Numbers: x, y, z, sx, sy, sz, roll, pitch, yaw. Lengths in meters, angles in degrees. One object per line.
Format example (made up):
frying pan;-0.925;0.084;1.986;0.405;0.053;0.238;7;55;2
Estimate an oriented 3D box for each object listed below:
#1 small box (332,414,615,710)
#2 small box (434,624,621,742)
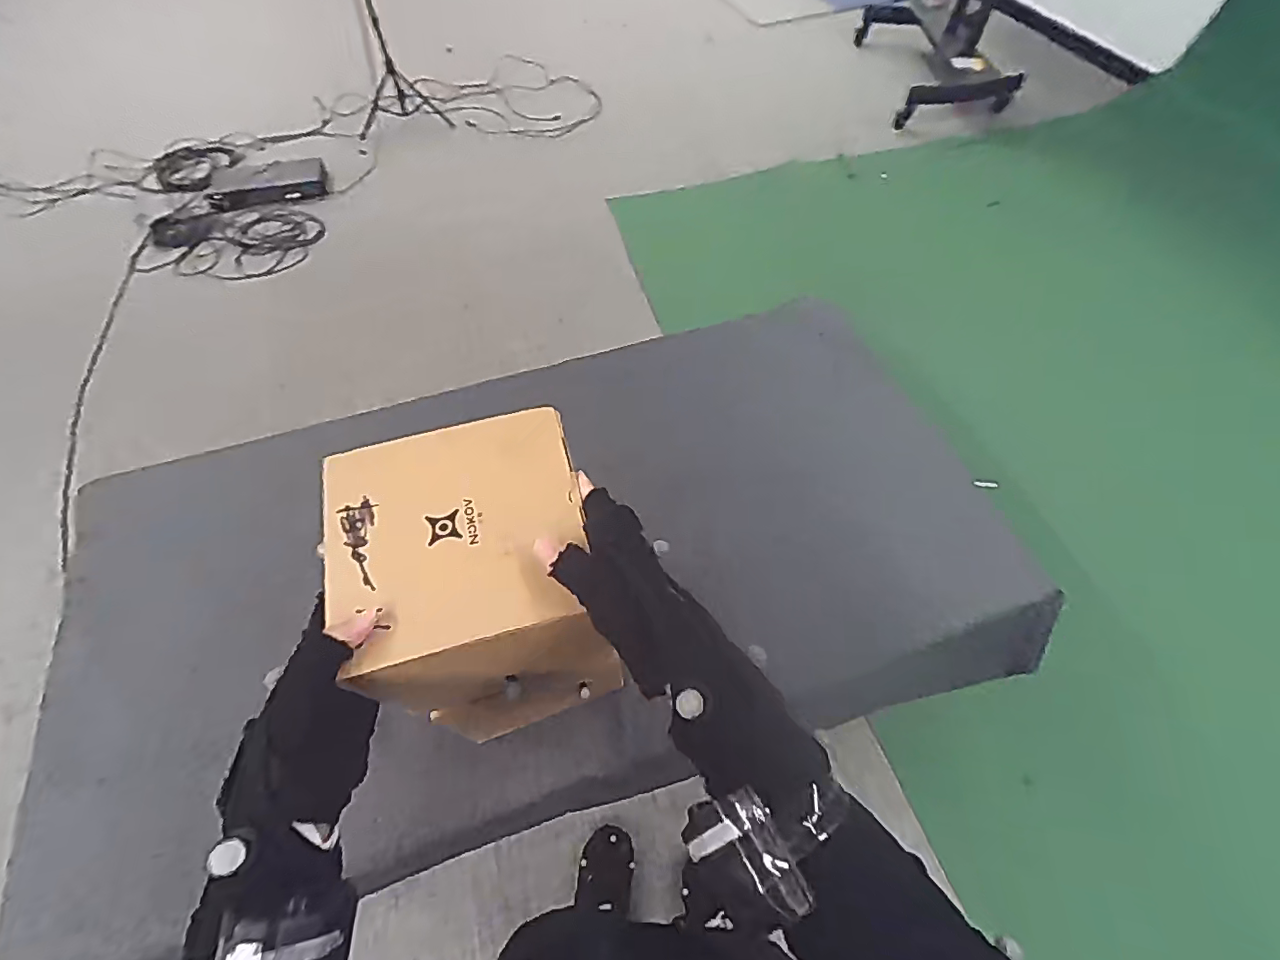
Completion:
small box;-0.124;0.073;0.441;0.179;0.176;0.168;-13;61;-10
small box;-0.127;0.168;0.599;0.179;0.176;0.168;-19;58;-10
